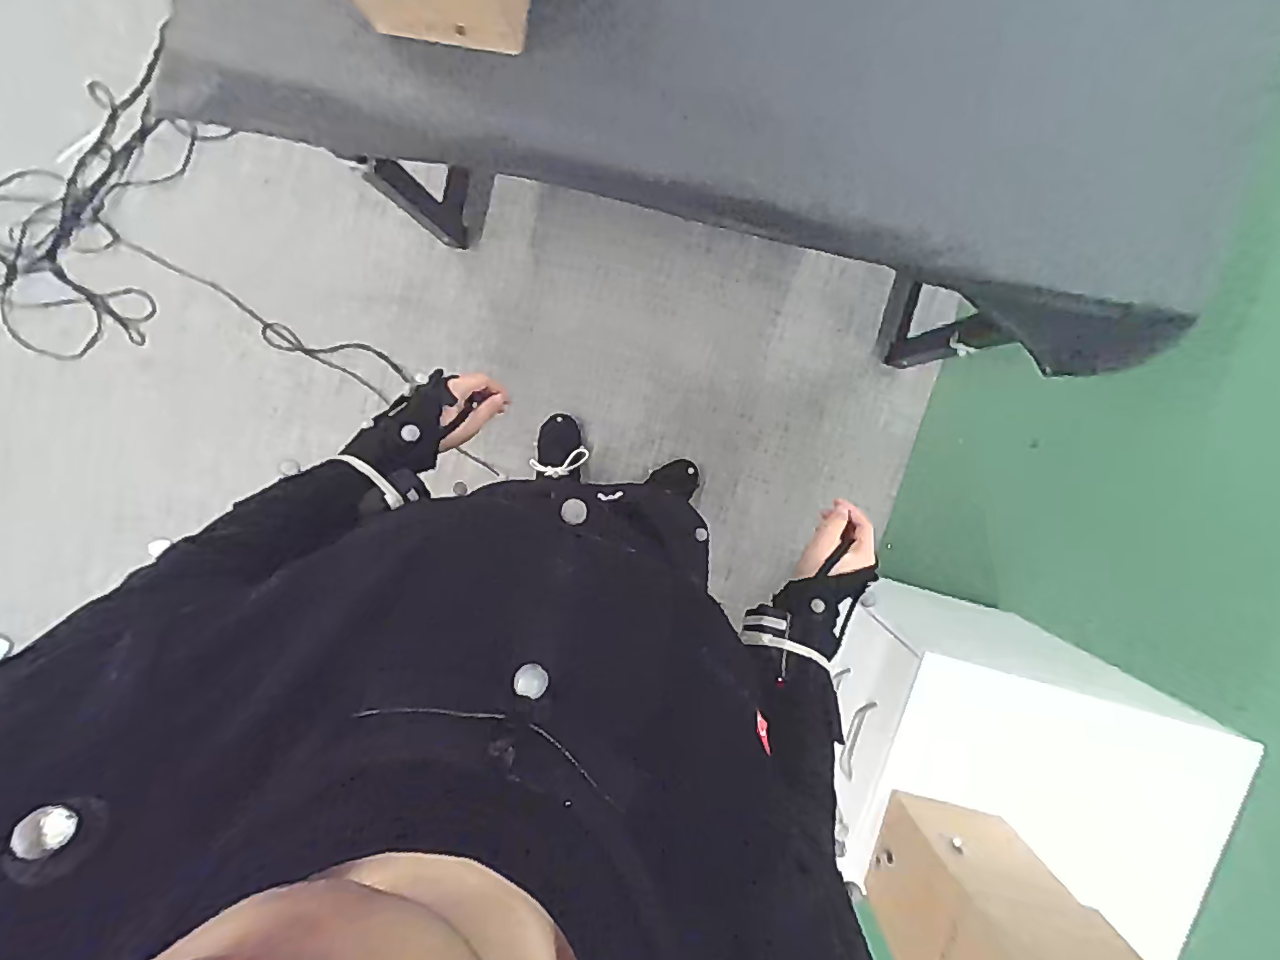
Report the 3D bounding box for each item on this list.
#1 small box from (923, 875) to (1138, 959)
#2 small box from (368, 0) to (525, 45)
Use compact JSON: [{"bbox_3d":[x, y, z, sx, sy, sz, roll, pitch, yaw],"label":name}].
[{"bbox_3d":[0.432,0.572,0.579,0.179,0.176,0.168,12,96,0],"label":"small box"},{"bbox_3d":[-0.201,-0.564,0.510,0.168,0.176,0.179,10,96,0],"label":"small box"}]
